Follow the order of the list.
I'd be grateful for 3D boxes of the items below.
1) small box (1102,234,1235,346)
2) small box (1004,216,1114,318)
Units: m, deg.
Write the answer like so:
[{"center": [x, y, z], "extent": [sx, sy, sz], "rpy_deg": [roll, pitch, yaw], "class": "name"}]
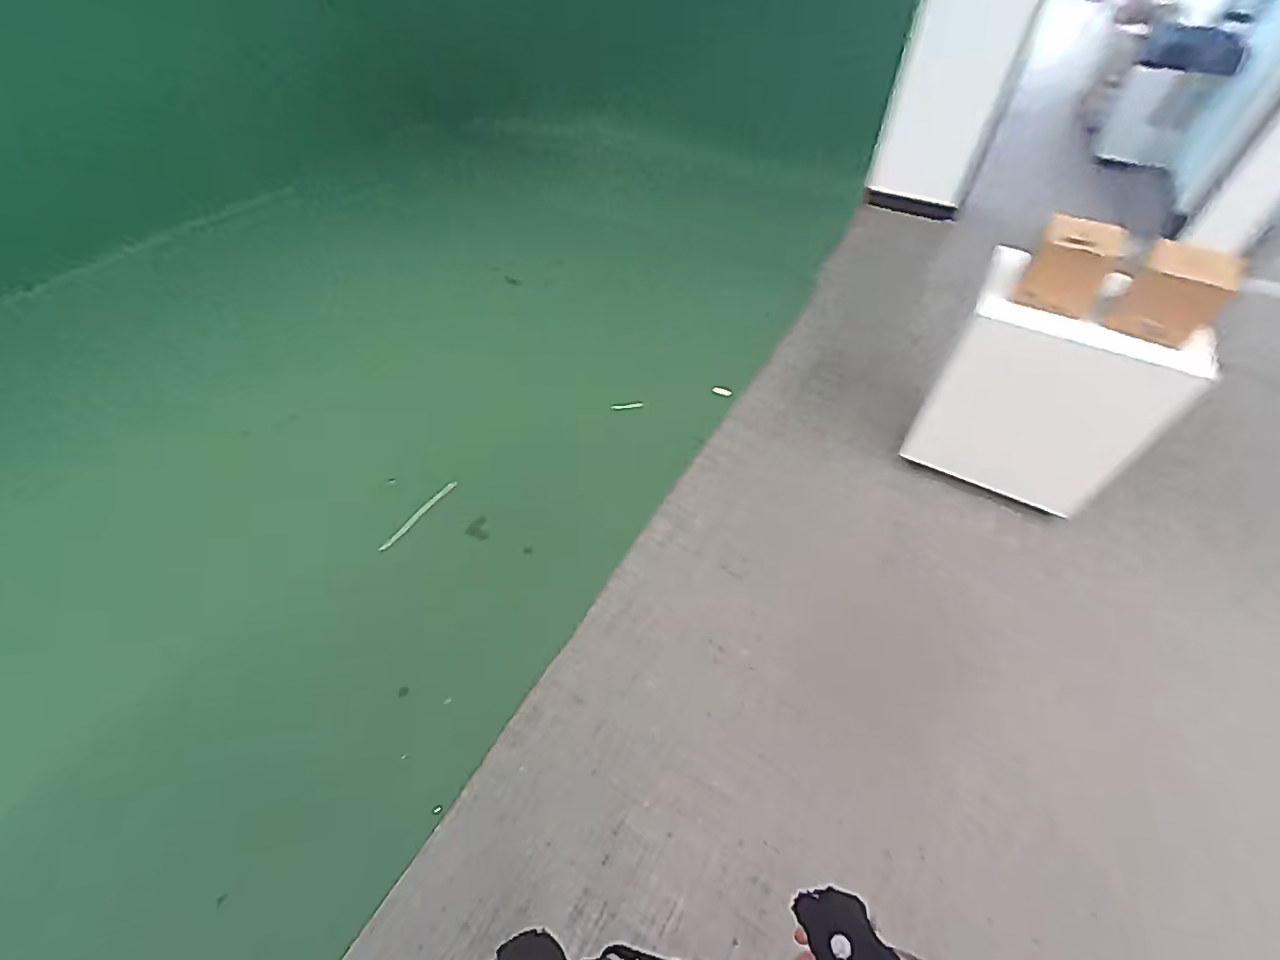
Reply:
[{"center": [1.264, -0.457, 1.302], "extent": [0.168, 0.176, 0.179], "rpy_deg": [28, 58, 23], "class": "small box"}, {"center": [1.076, -0.547, 1.397], "extent": [0.168, 0.176, 0.179], "rpy_deg": [24, 54, 18], "class": "small box"}]
